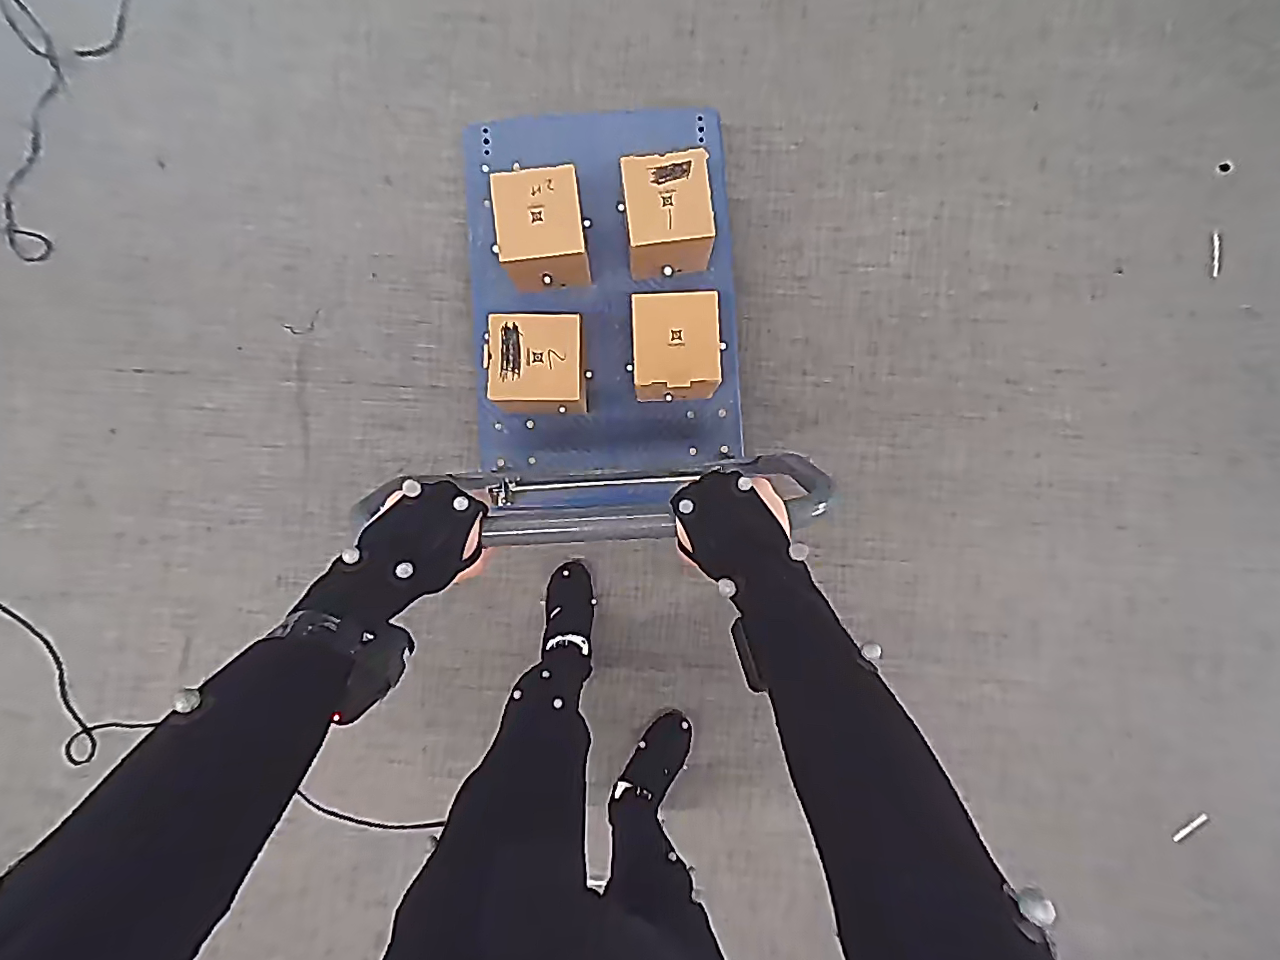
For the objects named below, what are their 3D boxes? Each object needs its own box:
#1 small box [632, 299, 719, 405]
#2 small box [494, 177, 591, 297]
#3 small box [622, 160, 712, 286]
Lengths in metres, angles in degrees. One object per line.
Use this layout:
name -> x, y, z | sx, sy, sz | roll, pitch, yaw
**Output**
small box -> 0.069, -0.261, 1.127 | 0.168, 0.176, 0.179 | -3, 88, 0
small box -> -0.198, -0.498, 1.136 | 0.168, 0.176, 0.179 | -7, 88, -1
small box -> 0.052, -0.531, 1.137 | 0.168, 0.176, 0.179 | -7, 89, 1
